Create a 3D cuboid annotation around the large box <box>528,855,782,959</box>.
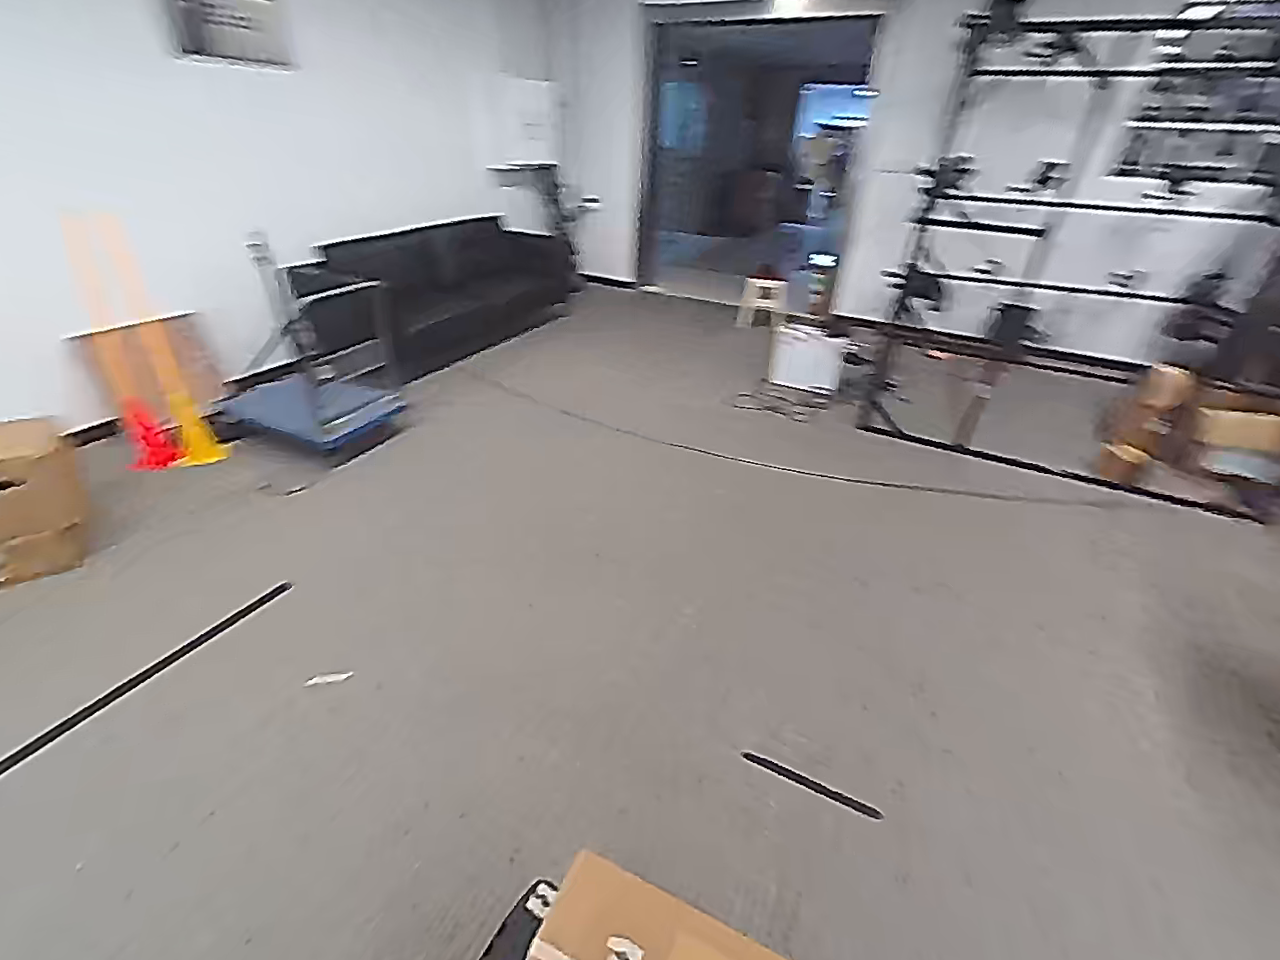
[{"bbox_3d":[0.012,0.899,0.842,0.408,0.320,0.320,15,34,21],"label":"large box"}]
